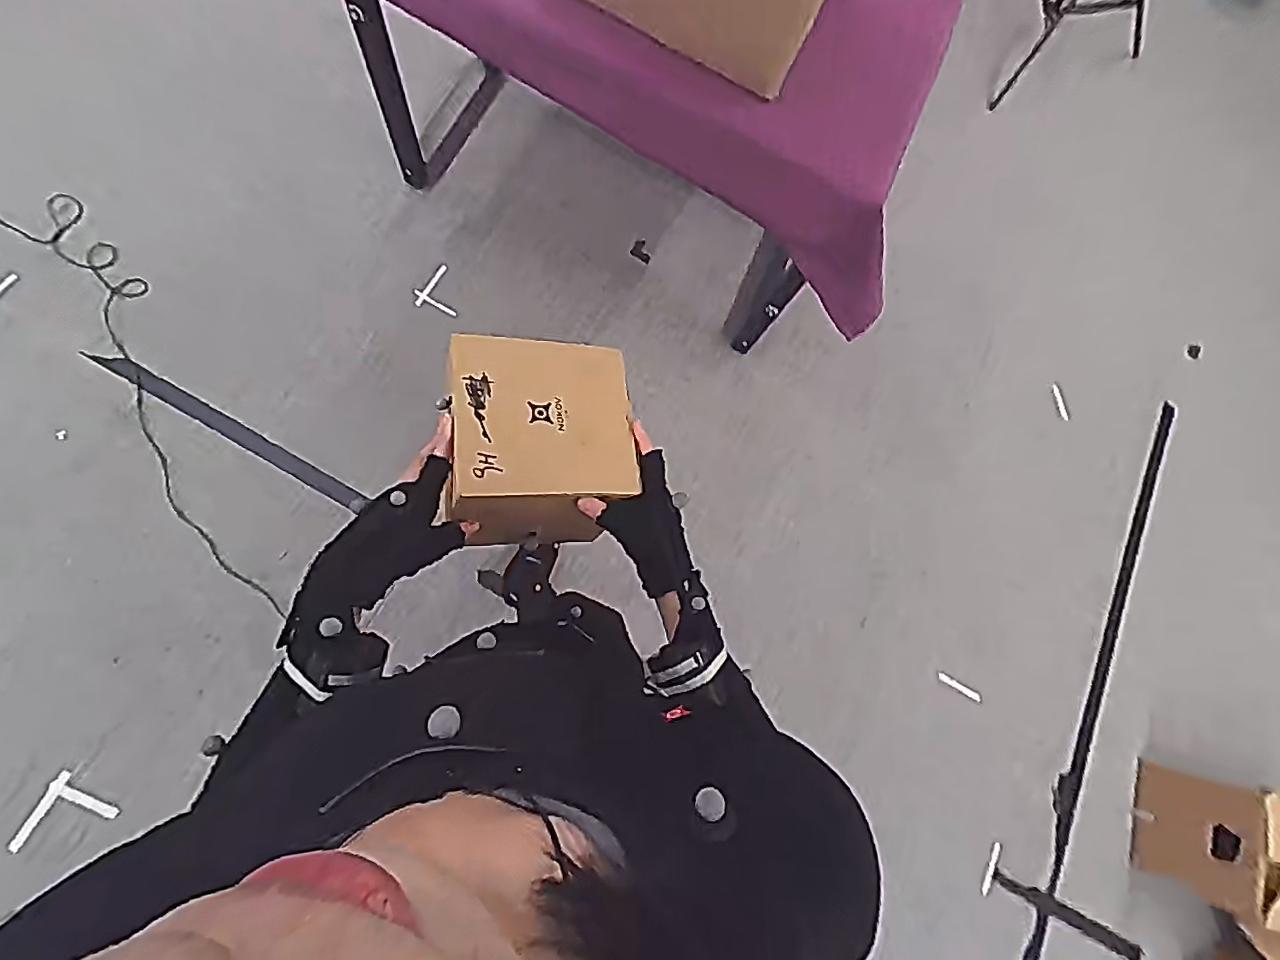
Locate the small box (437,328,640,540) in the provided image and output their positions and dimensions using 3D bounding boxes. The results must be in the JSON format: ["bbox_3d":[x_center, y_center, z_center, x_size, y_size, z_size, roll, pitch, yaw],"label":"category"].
[{"bbox_3d":[-0.120,-0.037,0.584,0.179,0.176,0.168,1,67,-24],"label":"small box"}]
